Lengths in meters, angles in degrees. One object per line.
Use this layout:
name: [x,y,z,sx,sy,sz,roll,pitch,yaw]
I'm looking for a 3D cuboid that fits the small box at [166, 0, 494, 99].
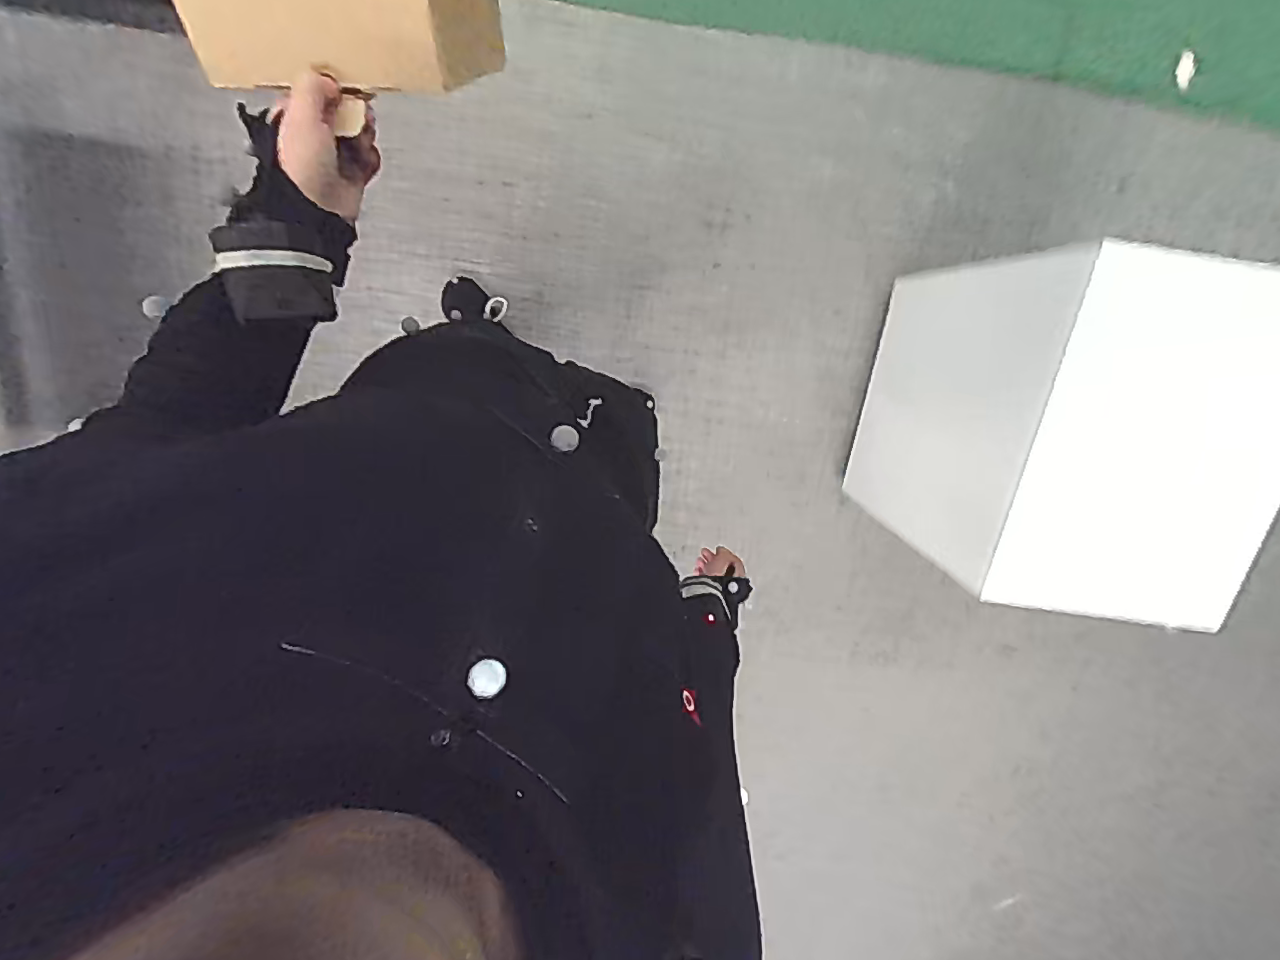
small box: [-0.210,-0.379,0.369,0.168,0.176,0.179,1,133,1]
